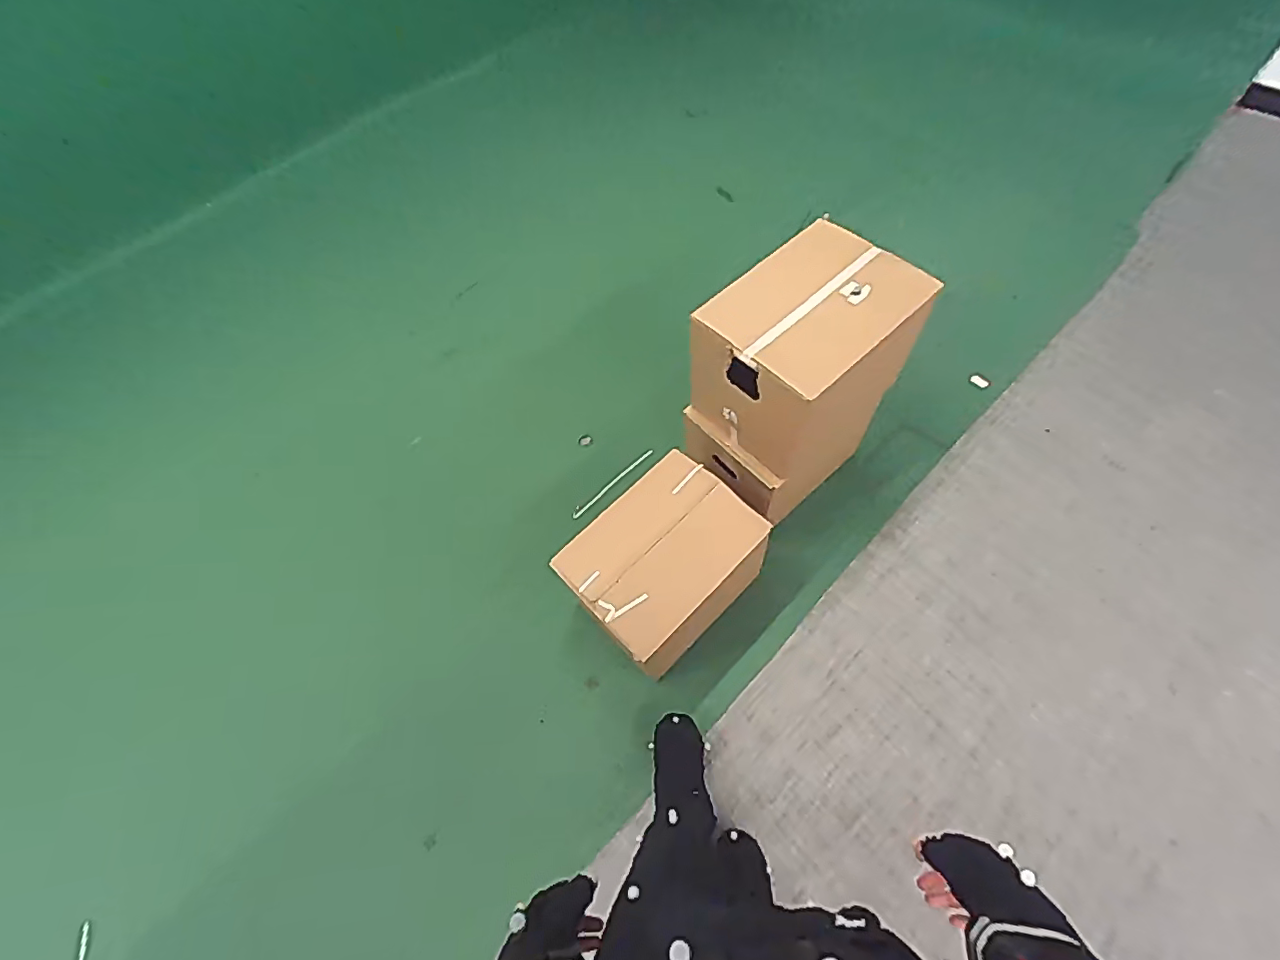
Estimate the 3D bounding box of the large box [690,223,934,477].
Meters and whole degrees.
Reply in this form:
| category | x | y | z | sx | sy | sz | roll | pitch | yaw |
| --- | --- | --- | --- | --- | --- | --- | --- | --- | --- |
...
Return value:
| category | x | y | z | sx | sy | sz | roll | pitch | yaw |
| --- | --- | --- | --- | --- | --- | --- | --- | --- | --- |
| large box | 0.358 | -0.286 | 1.219 | 0.408 | 0.320 | 0.320 | -39 | 66 | -16 |
